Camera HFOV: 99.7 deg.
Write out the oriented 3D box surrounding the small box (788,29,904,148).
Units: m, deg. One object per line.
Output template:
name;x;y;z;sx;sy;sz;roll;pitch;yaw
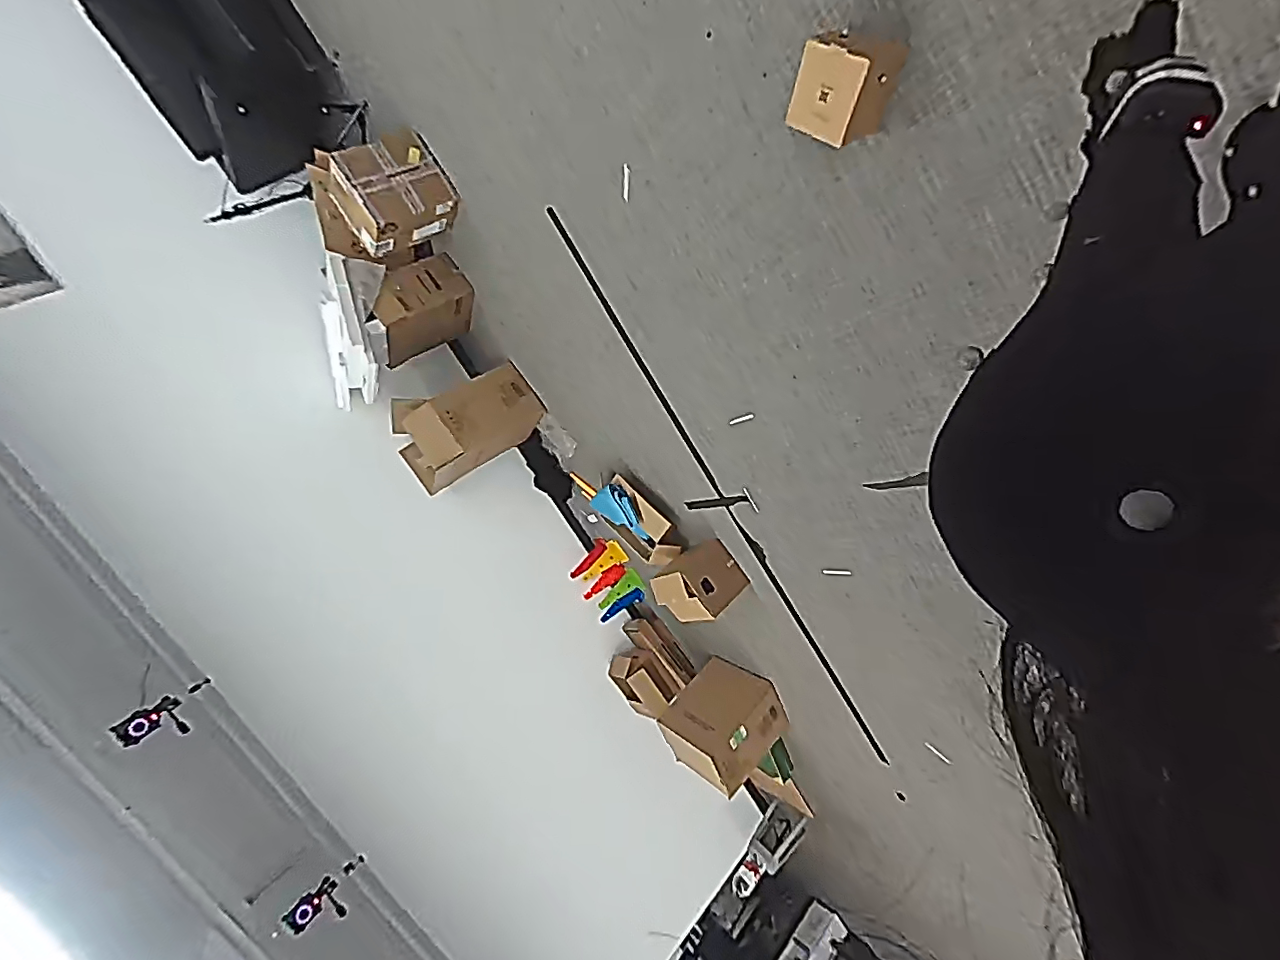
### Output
small box;0.481;-0.916;1.258;0.168;0.176;0.179;42;151;23
